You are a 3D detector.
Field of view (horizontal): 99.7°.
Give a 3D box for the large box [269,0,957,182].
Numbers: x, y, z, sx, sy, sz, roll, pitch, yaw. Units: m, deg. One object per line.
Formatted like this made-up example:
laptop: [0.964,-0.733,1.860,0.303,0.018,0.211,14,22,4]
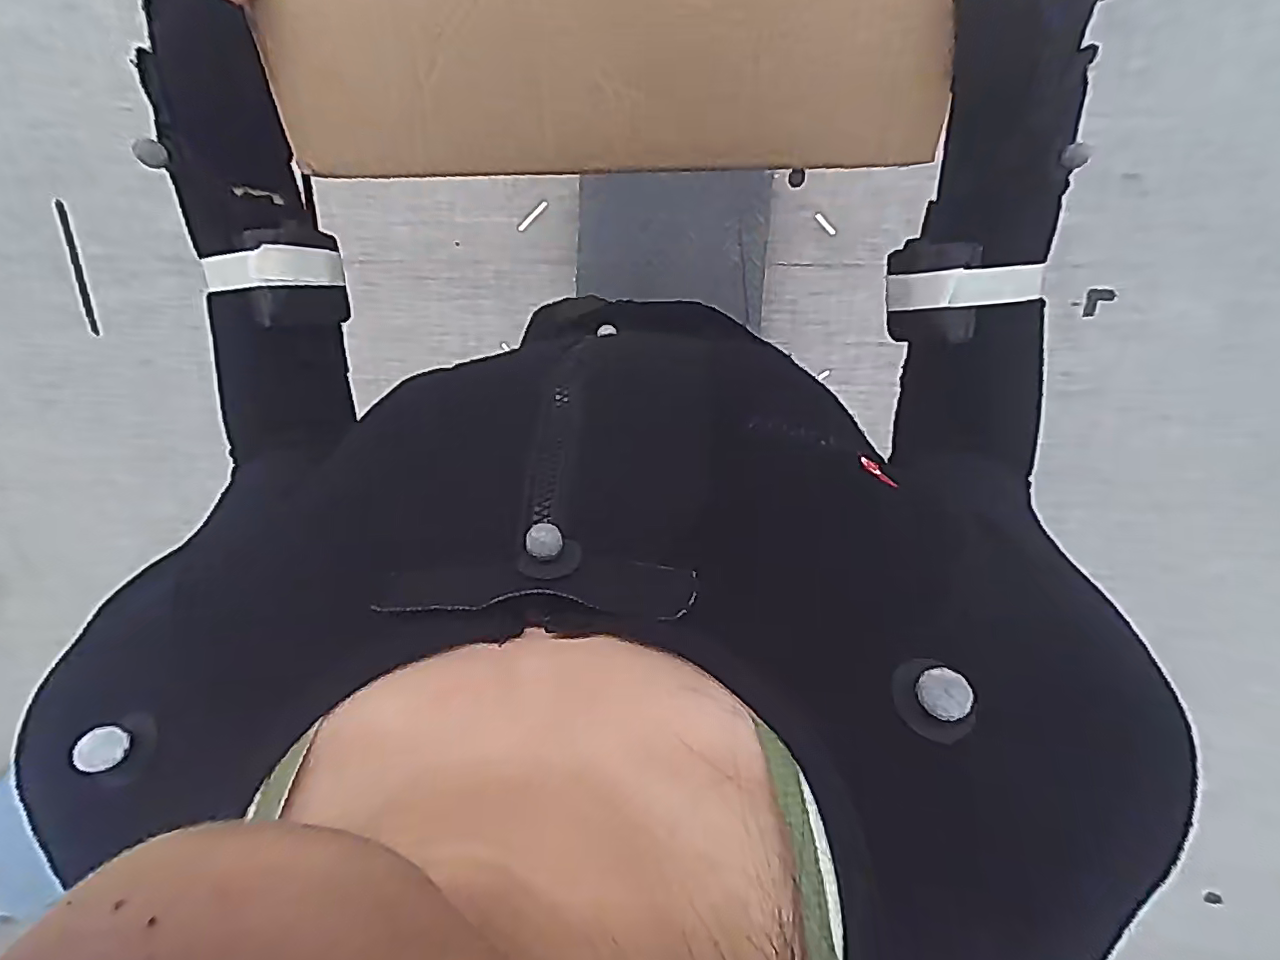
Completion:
large box: [-0.013,-0.417,0.395,0.408,0.320,0.320,1,124,4]
